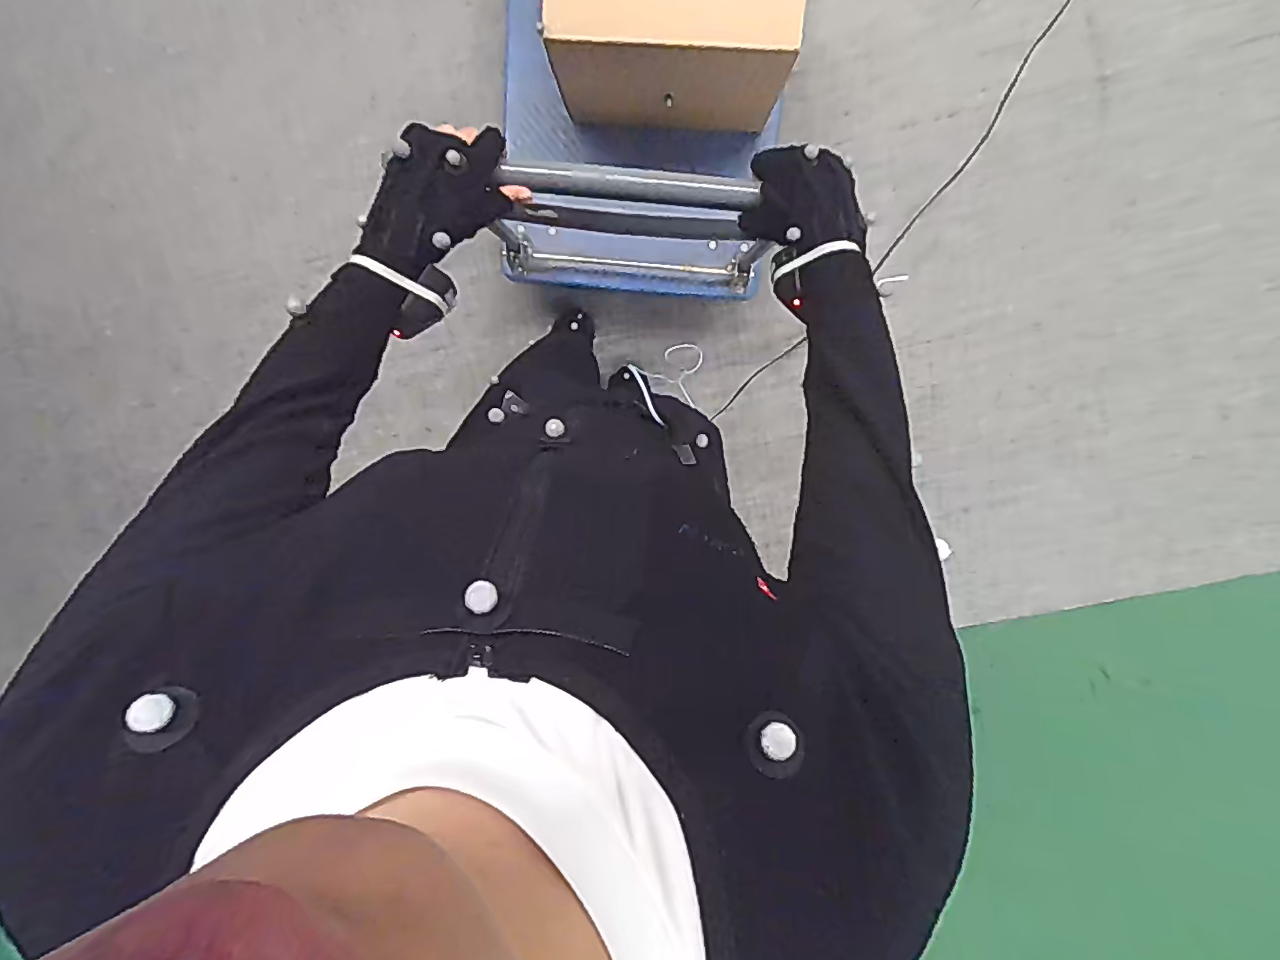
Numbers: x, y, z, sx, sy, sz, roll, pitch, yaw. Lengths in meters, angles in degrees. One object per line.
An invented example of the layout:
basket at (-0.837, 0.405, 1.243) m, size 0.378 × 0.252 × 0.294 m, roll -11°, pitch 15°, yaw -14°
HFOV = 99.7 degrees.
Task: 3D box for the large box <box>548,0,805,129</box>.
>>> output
large box at (0.067, -0.859, 0.963) m, size 0.408 × 0.320 × 0.320 m, roll 4°, pitch 102°, yaw 2°
